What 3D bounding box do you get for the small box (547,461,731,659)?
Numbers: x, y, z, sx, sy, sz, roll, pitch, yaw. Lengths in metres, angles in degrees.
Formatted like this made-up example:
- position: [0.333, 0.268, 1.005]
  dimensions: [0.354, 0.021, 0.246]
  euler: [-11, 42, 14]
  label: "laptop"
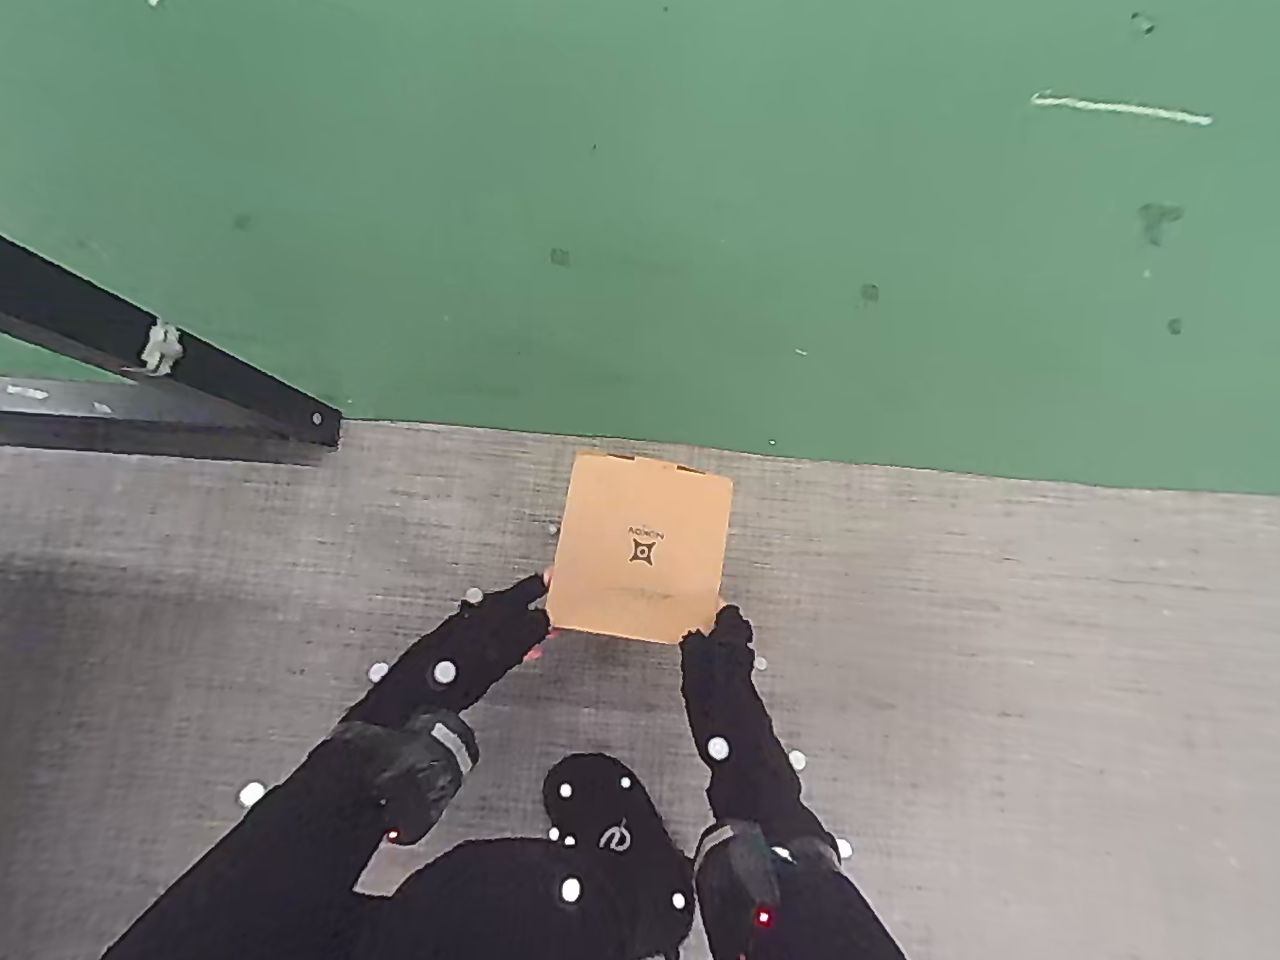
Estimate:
- position: [-0.008, 0.092, 0.615]
  dimensions: [0.168, 0.176, 0.179]
  euler: [10, 79, -5]
  label: "small box"
